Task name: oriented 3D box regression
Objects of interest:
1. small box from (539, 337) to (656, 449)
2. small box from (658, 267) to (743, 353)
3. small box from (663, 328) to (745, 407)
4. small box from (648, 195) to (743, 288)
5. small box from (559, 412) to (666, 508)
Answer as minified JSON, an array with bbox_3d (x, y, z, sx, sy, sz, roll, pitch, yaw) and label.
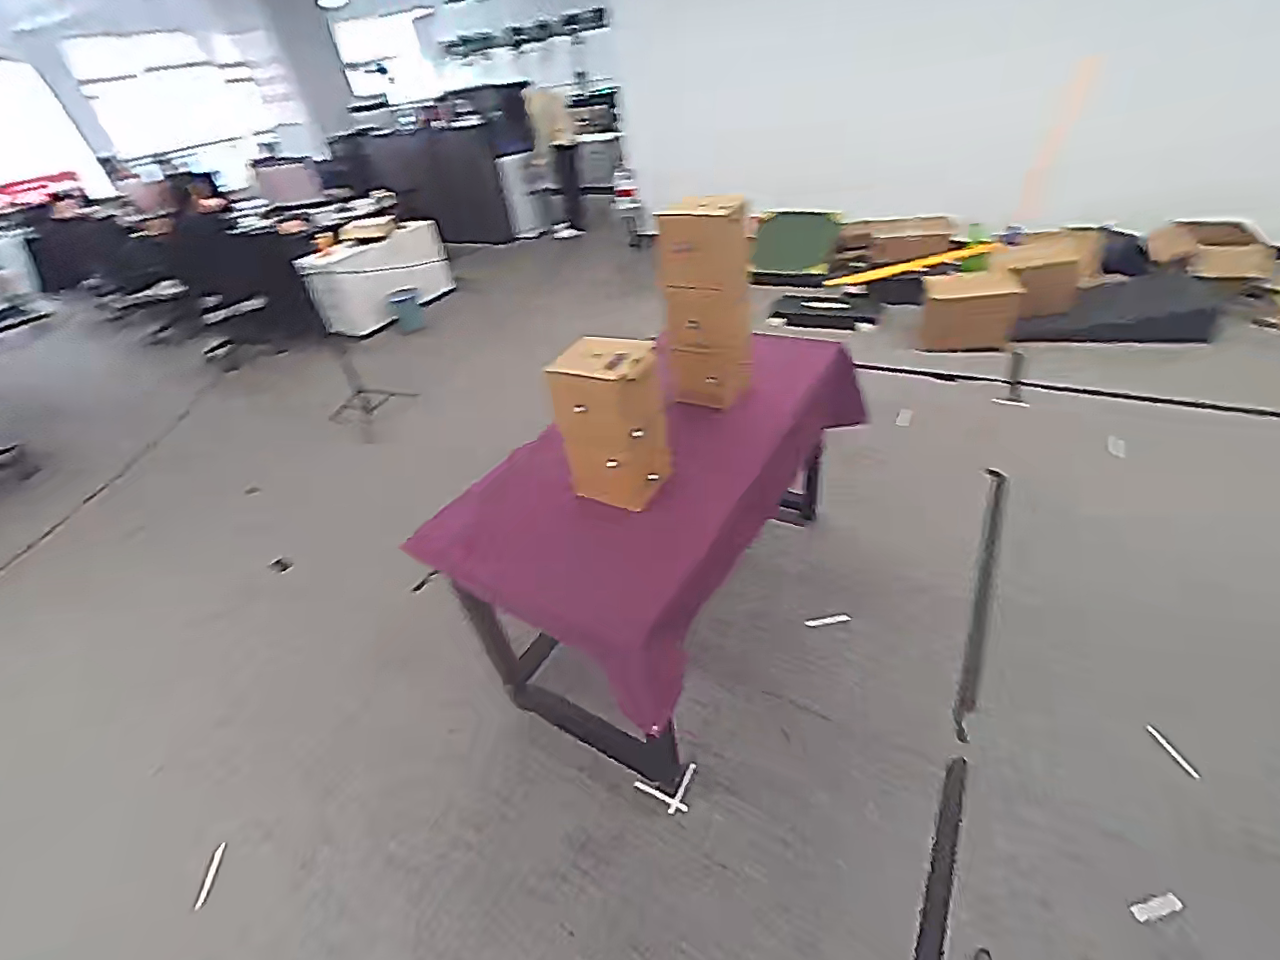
[{"bbox_3d":[-0.079,-0.183,1.141,0.179,0.176,0.168,13,43,26],"label":"small box"},{"bbox_3d":[0.165,-0.447,1.411,0.168,0.176,0.179,14,44,26],"label":"small box"},{"bbox_3d":[0.185,-0.322,1.515,0.179,0.176,0.168,14,44,28],"label":"small box"},{"bbox_3d":[0.141,-0.578,1.314,0.179,0.176,0.168,14,44,27],"label":"small box"},{"bbox_3d":[-0.056,-0.057,1.244,0.179,0.176,0.168,14,44,26],"label":"small box"}]
